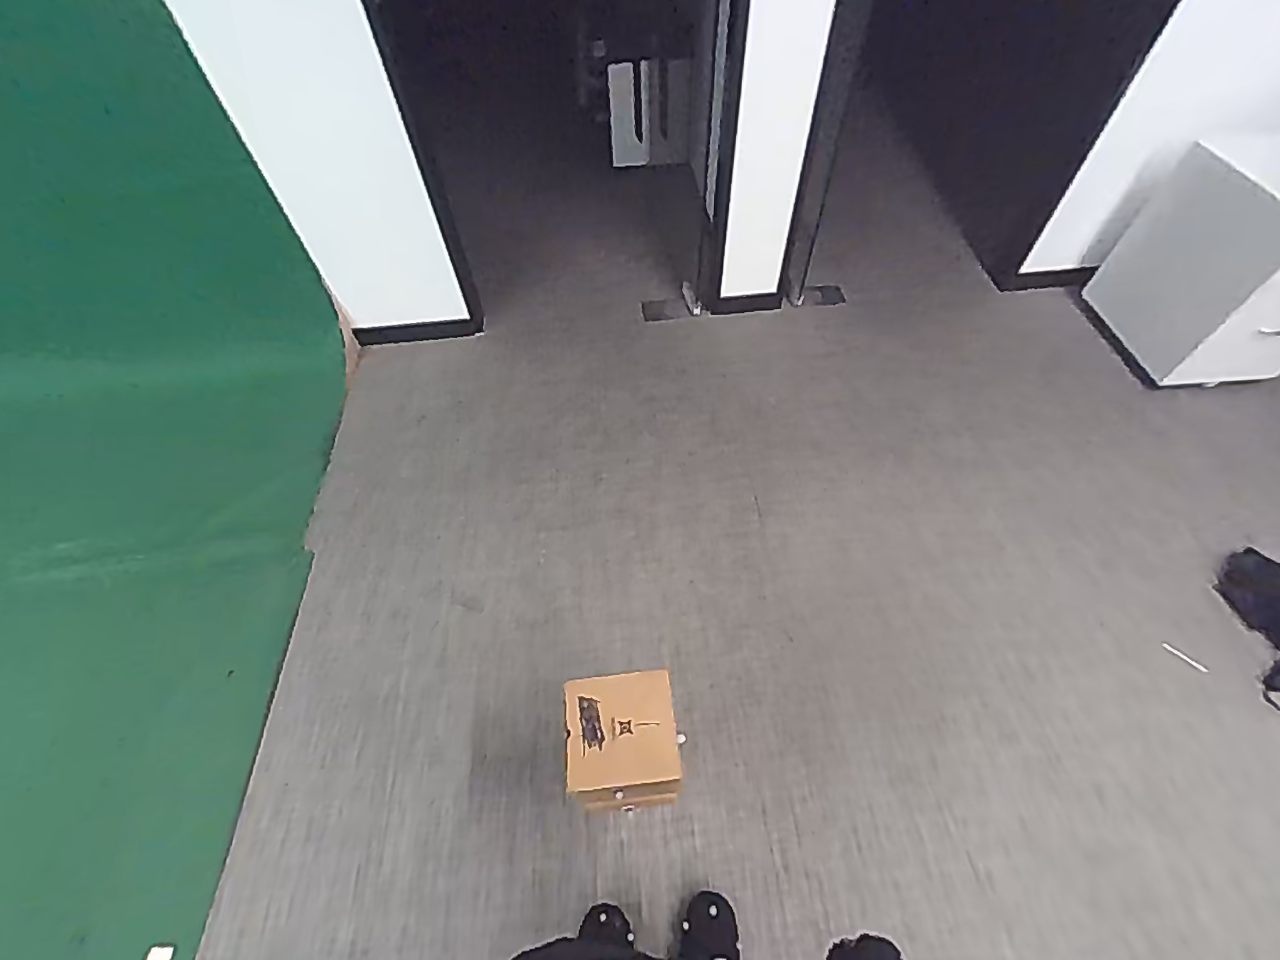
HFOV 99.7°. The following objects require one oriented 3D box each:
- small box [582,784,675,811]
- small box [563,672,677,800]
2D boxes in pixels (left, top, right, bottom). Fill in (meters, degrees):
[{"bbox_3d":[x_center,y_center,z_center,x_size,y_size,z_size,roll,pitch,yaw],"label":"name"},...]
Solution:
[{"bbox_3d":[-0.025,0.531,1.055,0.168,0.176,0.179,-7,56,-1],"label":"small box"},{"bbox_3d":[-0.032,0.446,0.934,0.179,0.176,0.168,-6,55,-1],"label":"small box"}]
